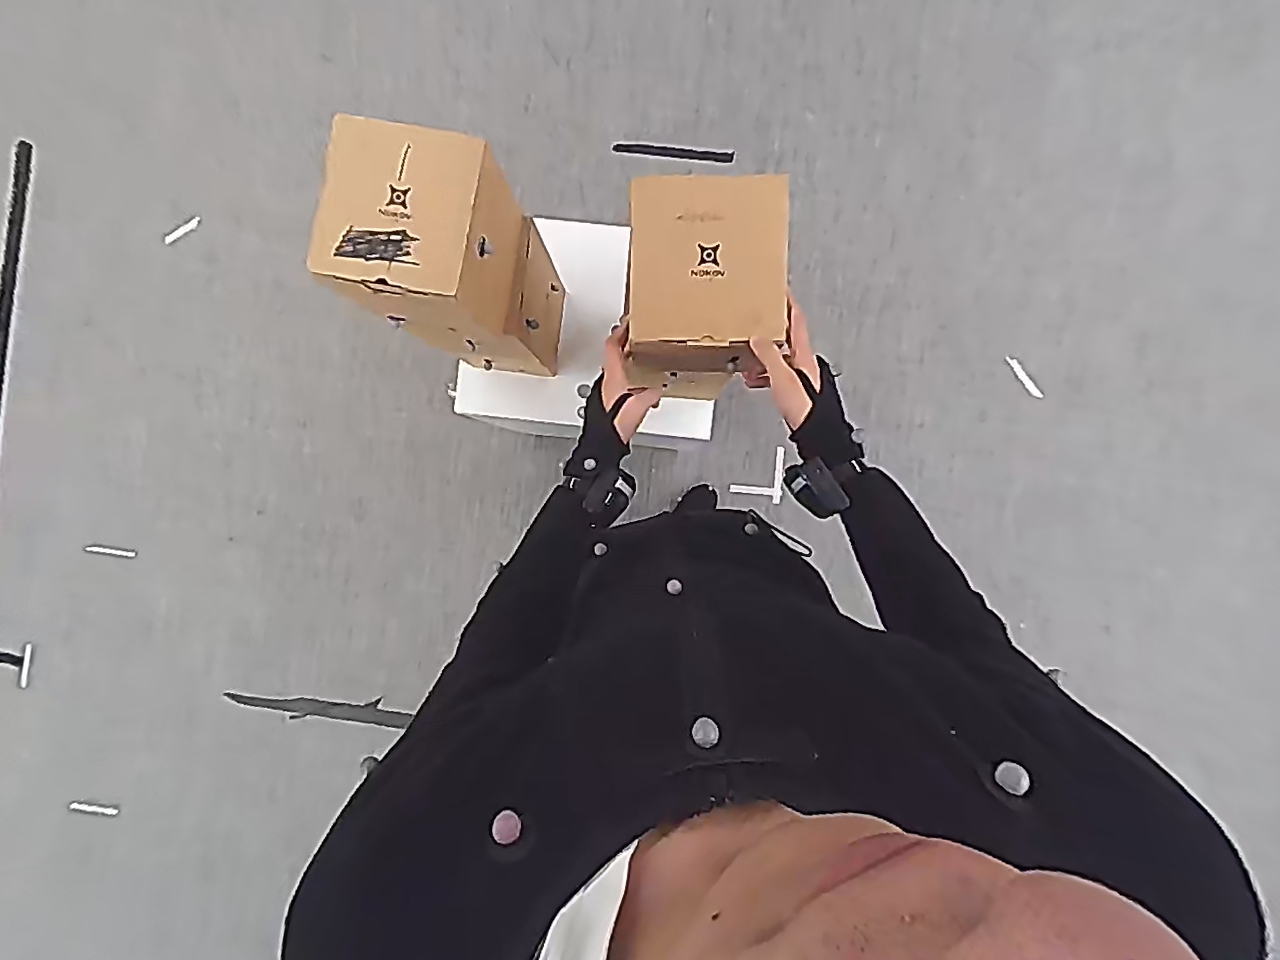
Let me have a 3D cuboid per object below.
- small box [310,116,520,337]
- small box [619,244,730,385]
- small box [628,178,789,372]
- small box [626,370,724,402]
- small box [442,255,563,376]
[{"bbox_3d":[-0.252,-0.285,0.647,0.168,0.176,0.179,10,90,1],"label":"small box"},{"bbox_3d":[0.063,-0.242,0.803,0.168,0.176,0.179,5,91,1],"label":"small box"},{"bbox_3d":[0.073,-0.227,0.640,0.168,0.176,0.179,0,90,0],"label":"small box"},{"bbox_3d":[0.067,-0.244,0.968,0.168,0.176,0.179,4,90,2],"label":"small box"},{"bbox_3d":[-0.238,-0.292,0.976,0.168,0.176,0.179,7,90,1],"label":"small box"}]
